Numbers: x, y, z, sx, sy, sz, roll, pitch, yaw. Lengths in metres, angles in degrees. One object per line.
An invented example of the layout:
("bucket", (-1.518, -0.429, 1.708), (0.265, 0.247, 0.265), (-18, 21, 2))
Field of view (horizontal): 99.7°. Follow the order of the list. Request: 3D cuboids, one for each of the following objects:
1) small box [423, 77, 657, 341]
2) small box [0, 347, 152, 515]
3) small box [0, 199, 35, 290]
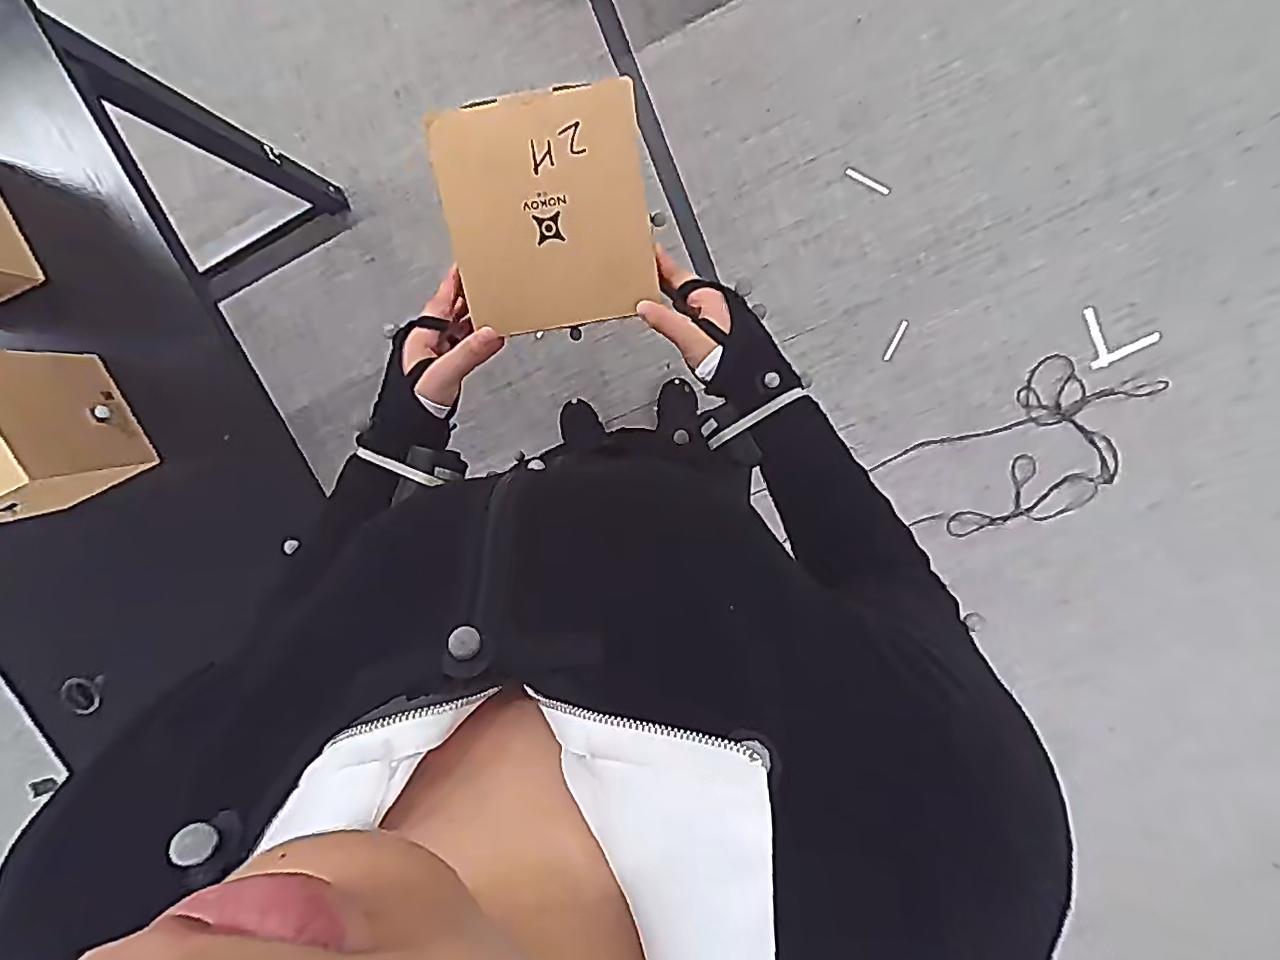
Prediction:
("small box", (-0.075, -0.238, 0.514), (0.168, 0.176, 0.179), (-9, 107, 3))
("small box", (-0.798, -0.056, 0.687), (0.179, 0.176, 0.168), (-23, 99, 6))
("small box", (-0.911, -0.310, 0.643), (0.168, 0.176, 0.179), (-21, 100, 6))
